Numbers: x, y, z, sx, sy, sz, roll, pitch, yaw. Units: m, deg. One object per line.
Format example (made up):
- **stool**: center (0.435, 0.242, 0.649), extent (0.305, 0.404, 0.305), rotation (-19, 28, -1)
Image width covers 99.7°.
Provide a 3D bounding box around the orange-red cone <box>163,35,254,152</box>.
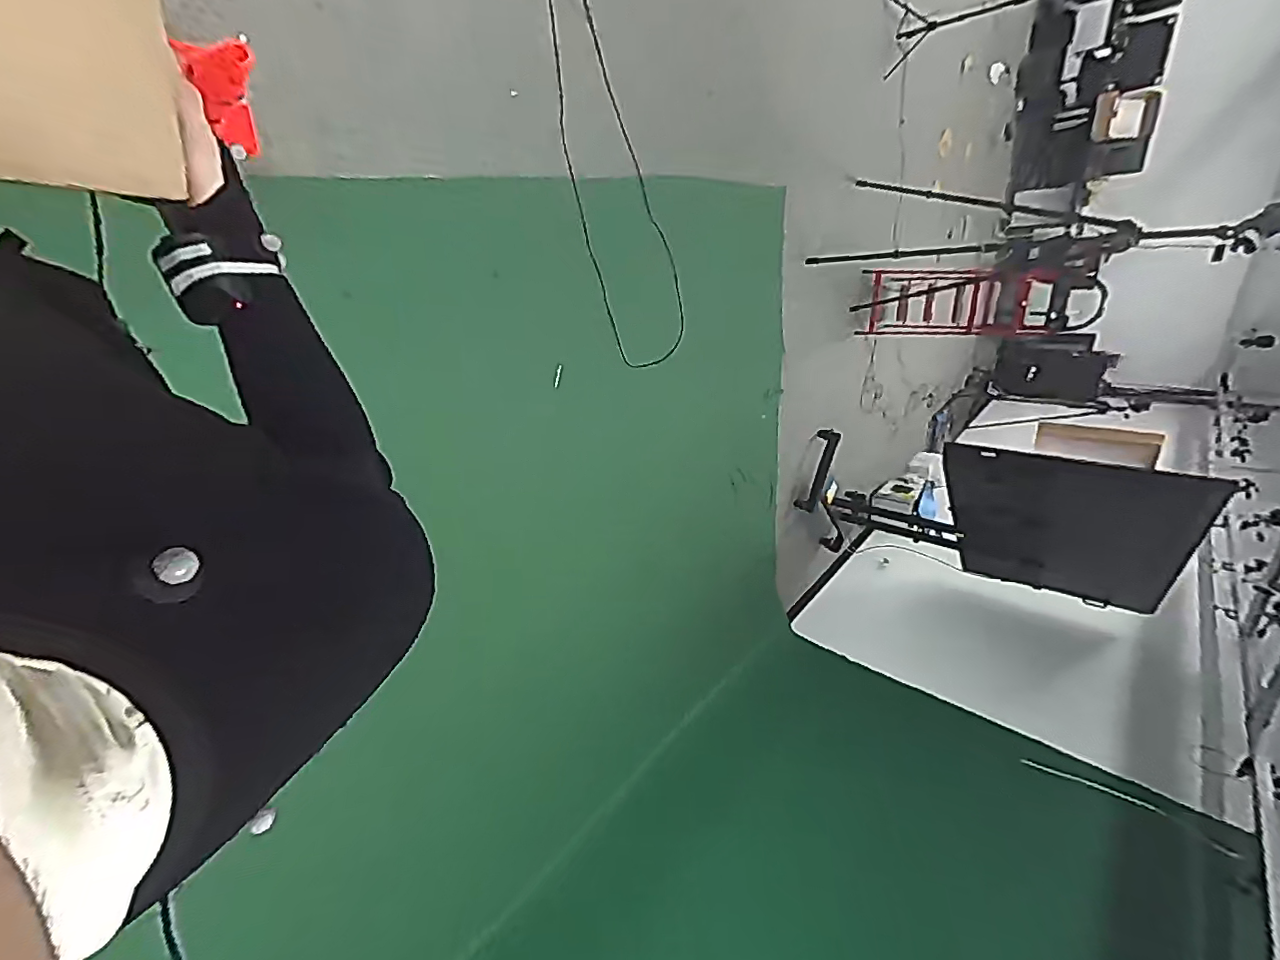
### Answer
- **orange-red cone**: center (-0.850, -0.809, 1.082), extent (0.199, 0.360, 0.198), rotation (-21, 119, -46)
